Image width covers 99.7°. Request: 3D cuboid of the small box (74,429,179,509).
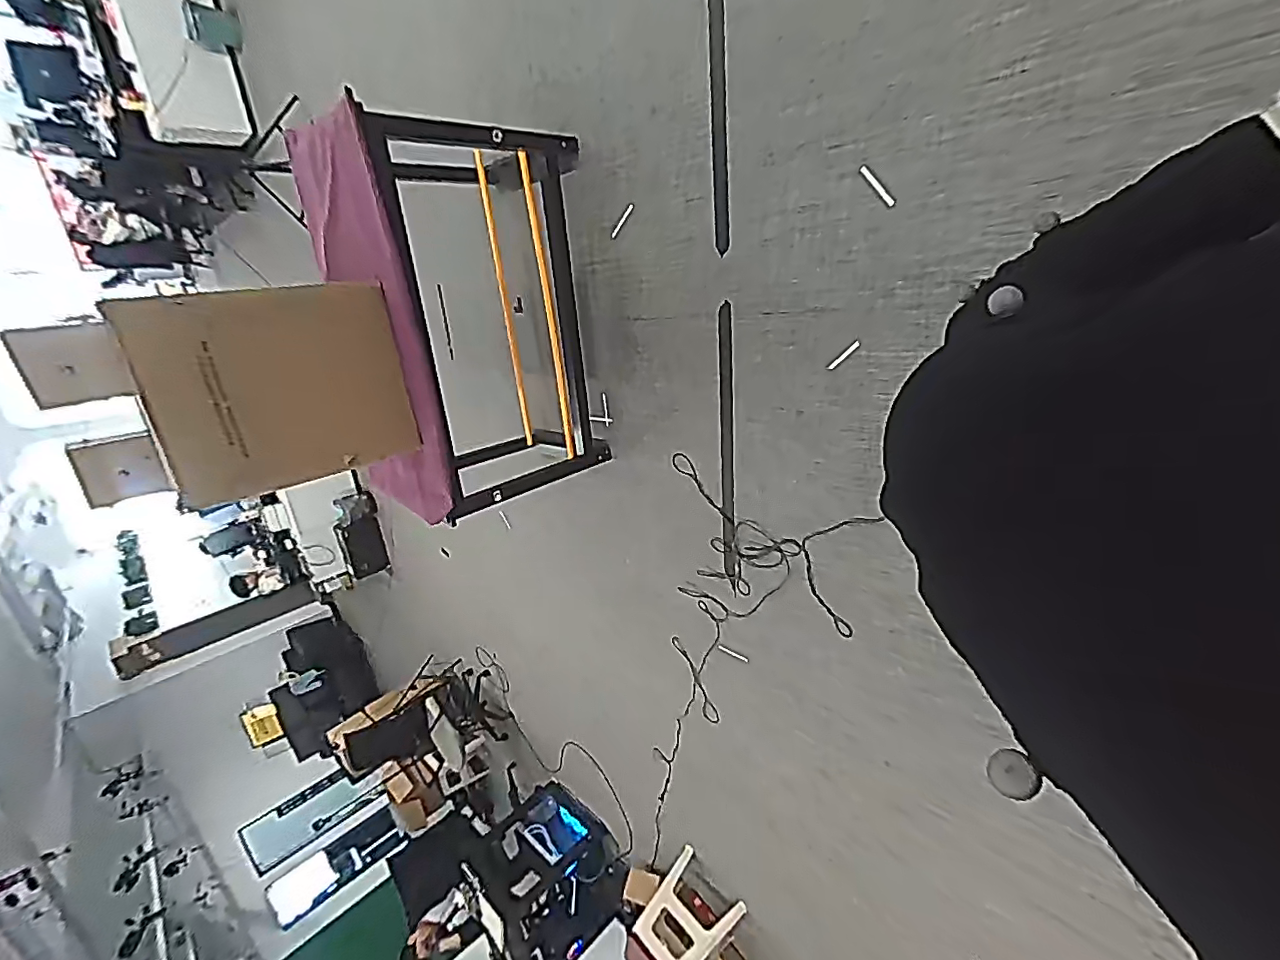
[{"bbox_3d":[-1.392,-0.037,1.473,0.179,0.176,0.168,13,116,44],"label":"small box"}]
